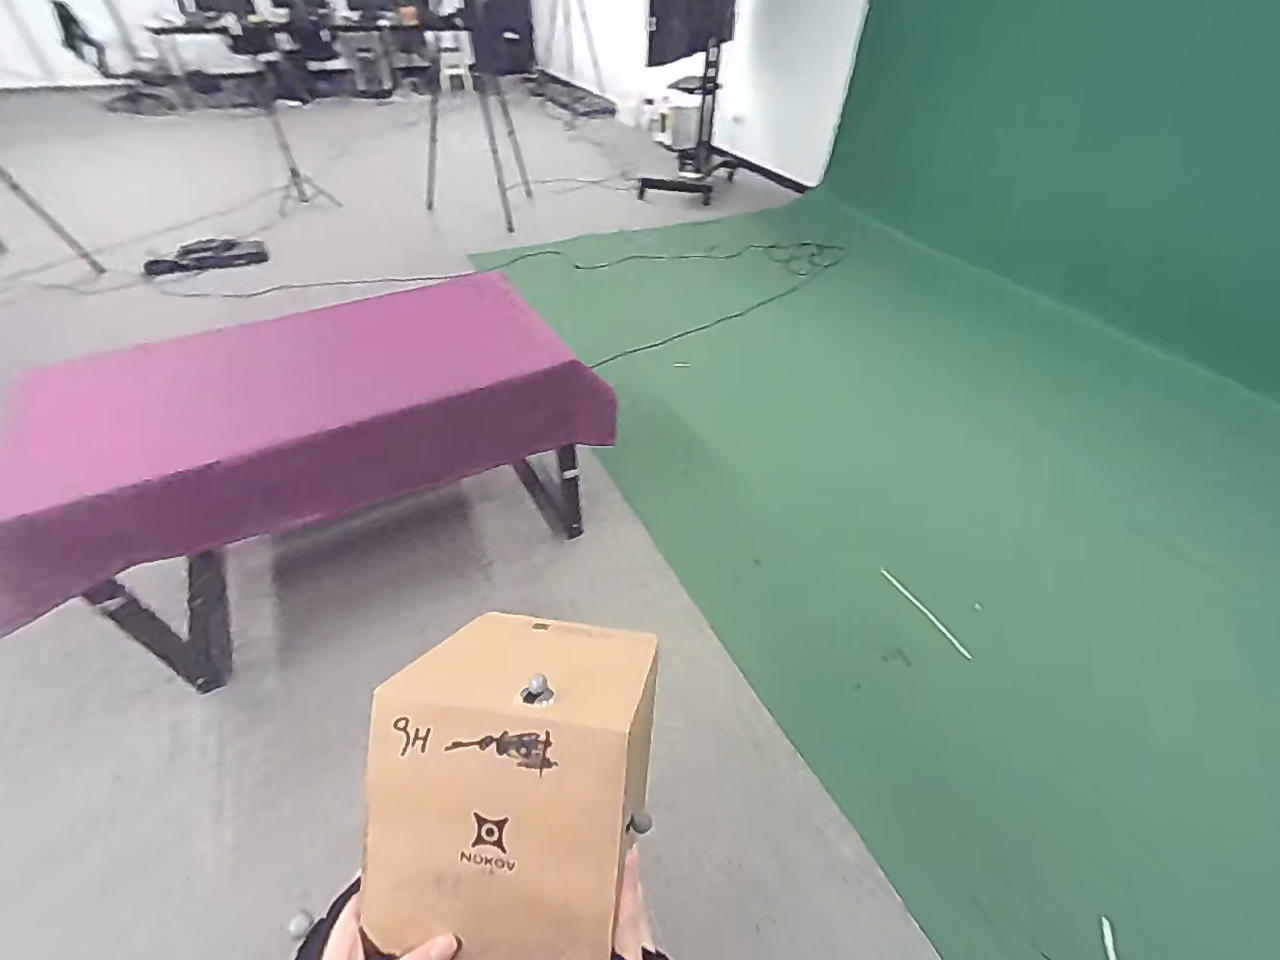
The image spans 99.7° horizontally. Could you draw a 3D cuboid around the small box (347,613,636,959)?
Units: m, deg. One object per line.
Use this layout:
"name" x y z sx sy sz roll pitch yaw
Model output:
"small box" -0.099 0.223 0.425 0.168 0.179 0.176 5 5 8
